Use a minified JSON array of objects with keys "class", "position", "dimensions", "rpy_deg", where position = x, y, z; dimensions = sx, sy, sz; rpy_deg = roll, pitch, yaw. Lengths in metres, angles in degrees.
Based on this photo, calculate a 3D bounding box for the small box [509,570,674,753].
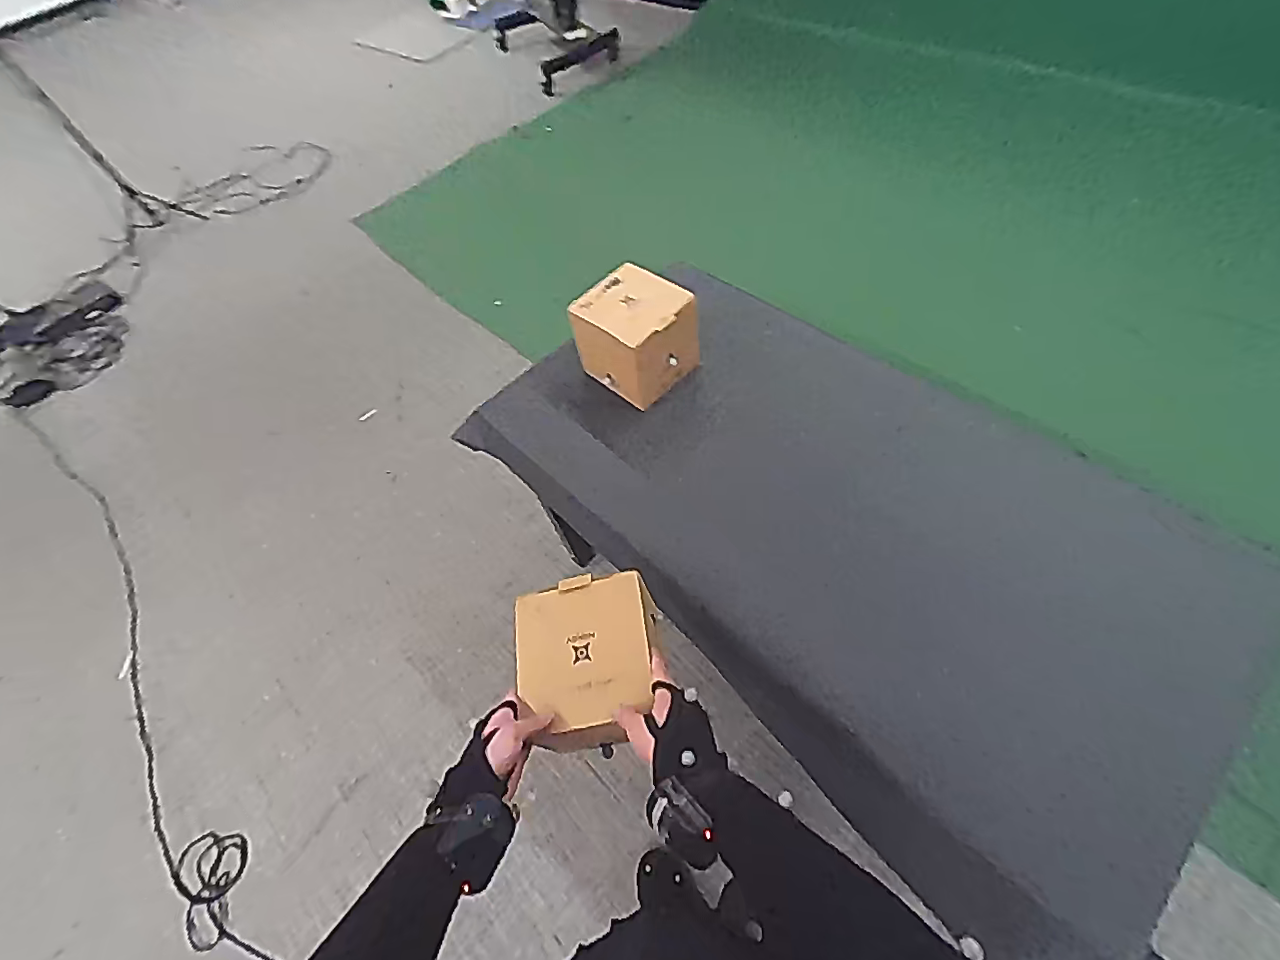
[{"class":"small box","position":[-0.057,0.240,0.701],"dimensions":[0.168,0.176,0.179],"rpy_deg":[-12,56,8]}]

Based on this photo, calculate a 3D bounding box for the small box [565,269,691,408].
[{"class":"small box","position":[-0.013,-0.266,1.048],"dimensions":[0.179,0.176,0.168],"rpy_deg":[37,69,26]}]
